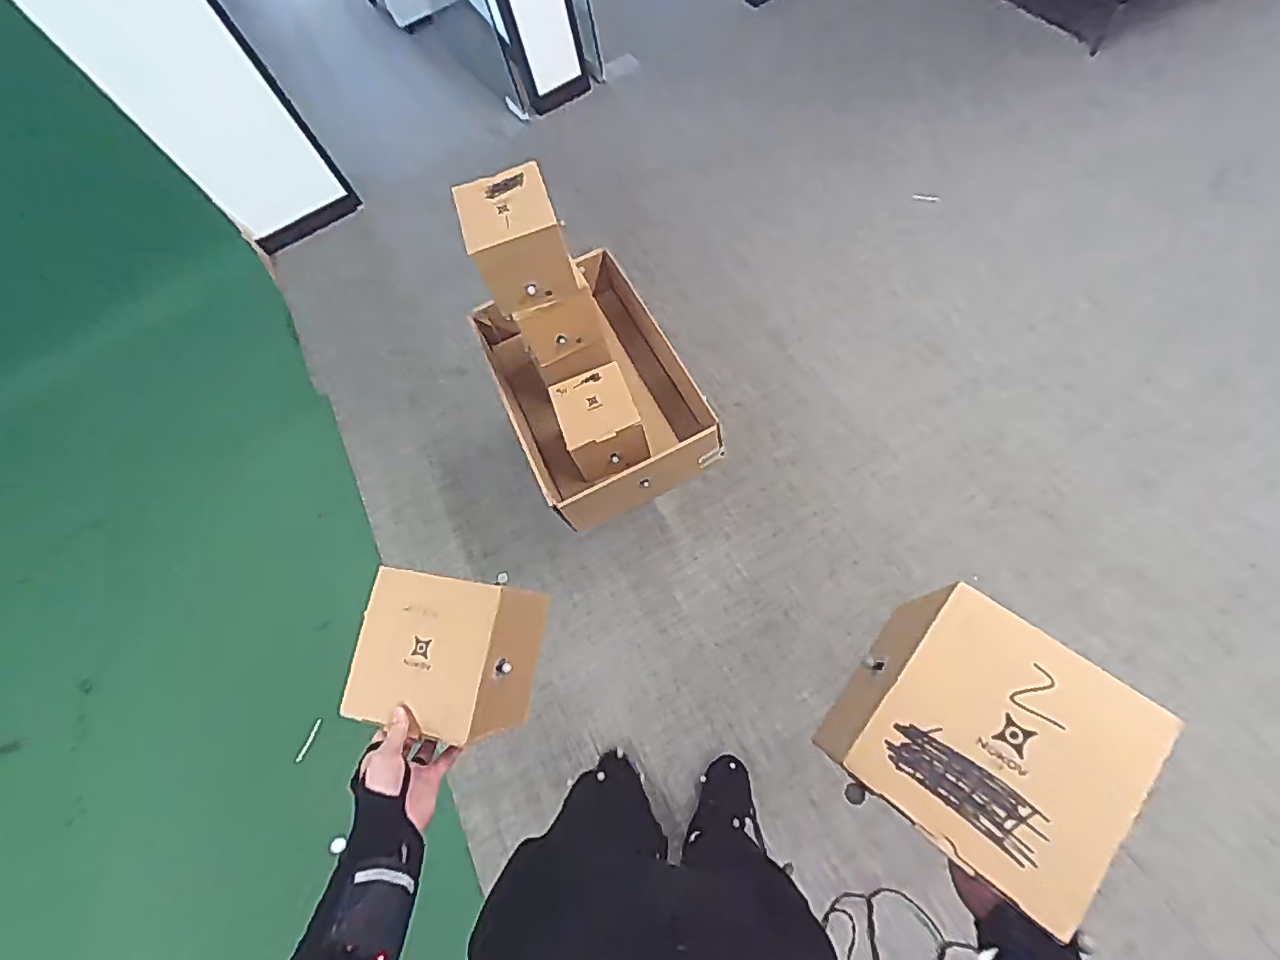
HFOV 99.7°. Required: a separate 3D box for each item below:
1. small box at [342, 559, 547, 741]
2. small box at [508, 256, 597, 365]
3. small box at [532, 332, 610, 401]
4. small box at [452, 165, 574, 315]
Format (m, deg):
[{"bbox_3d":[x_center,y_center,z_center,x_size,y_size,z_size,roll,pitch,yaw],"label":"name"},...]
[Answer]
[{"bbox_3d":[-0.236,0.211,0.699,0.168,0.176,0.179,8,77,13],"label":"small box"},{"bbox_3d":[-0.211,-0.390,1.188,0.168,0.176,0.179,-28,67,-4],"label":"small box"},{"bbox_3d":[-0.191,-0.329,1.337,0.168,0.176,0.179,-27,66,-3],"label":"small box"},{"bbox_3d":[-0.239,-0.455,1.040,0.168,0.176,0.179,-19,67,0],"label":"small box"}]
